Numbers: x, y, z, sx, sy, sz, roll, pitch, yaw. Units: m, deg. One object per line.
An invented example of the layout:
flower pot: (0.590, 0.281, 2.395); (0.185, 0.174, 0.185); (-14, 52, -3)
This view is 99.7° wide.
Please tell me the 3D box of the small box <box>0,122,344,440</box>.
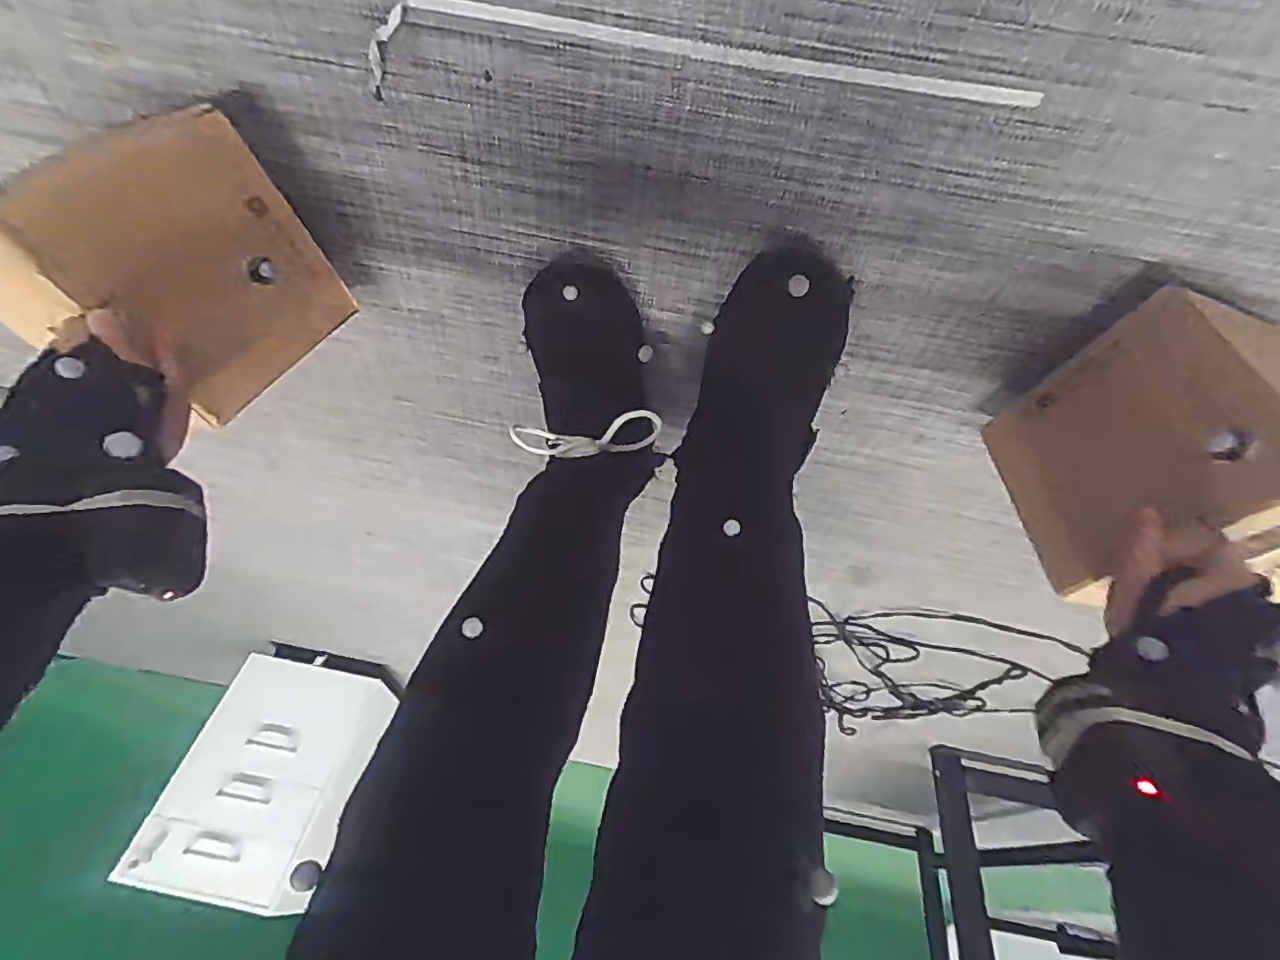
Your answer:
small box: (-0.389, -0.157, 0.433); (0.179, 0.176, 0.168); (9, 144, 25)
